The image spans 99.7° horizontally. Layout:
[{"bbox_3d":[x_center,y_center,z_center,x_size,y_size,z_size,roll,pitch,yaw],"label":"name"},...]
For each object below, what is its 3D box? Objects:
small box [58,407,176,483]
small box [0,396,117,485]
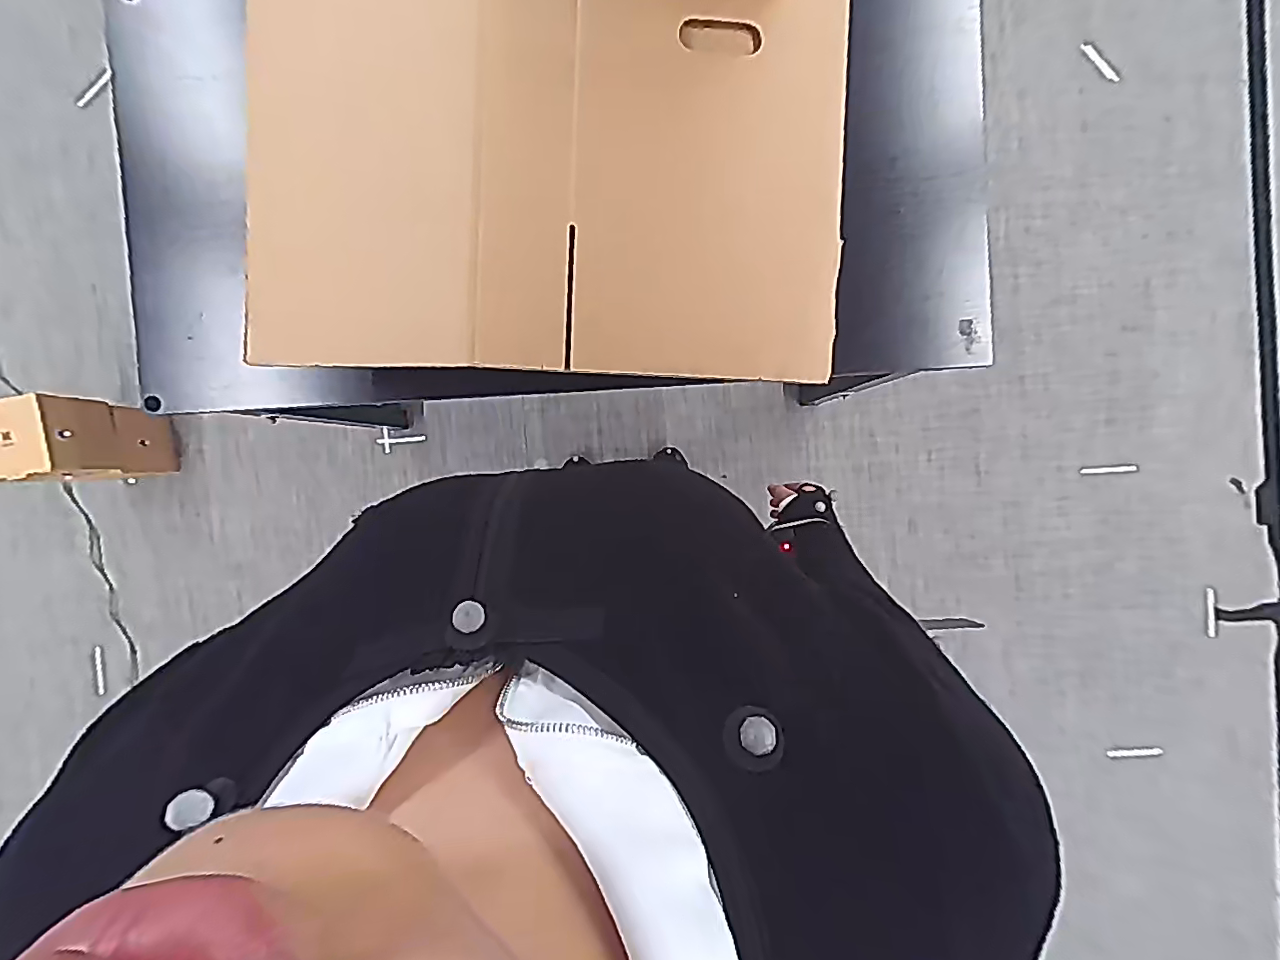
[{"bbox_3d":[-1.376,-0.088,1.418,0.168,0.176,0.179,-7,92,1],"label":"small box"},{"bbox_3d":[-1.378,-0.088,1.256,0.168,0.176,0.179,-10,91,0],"label":"small box"}]
